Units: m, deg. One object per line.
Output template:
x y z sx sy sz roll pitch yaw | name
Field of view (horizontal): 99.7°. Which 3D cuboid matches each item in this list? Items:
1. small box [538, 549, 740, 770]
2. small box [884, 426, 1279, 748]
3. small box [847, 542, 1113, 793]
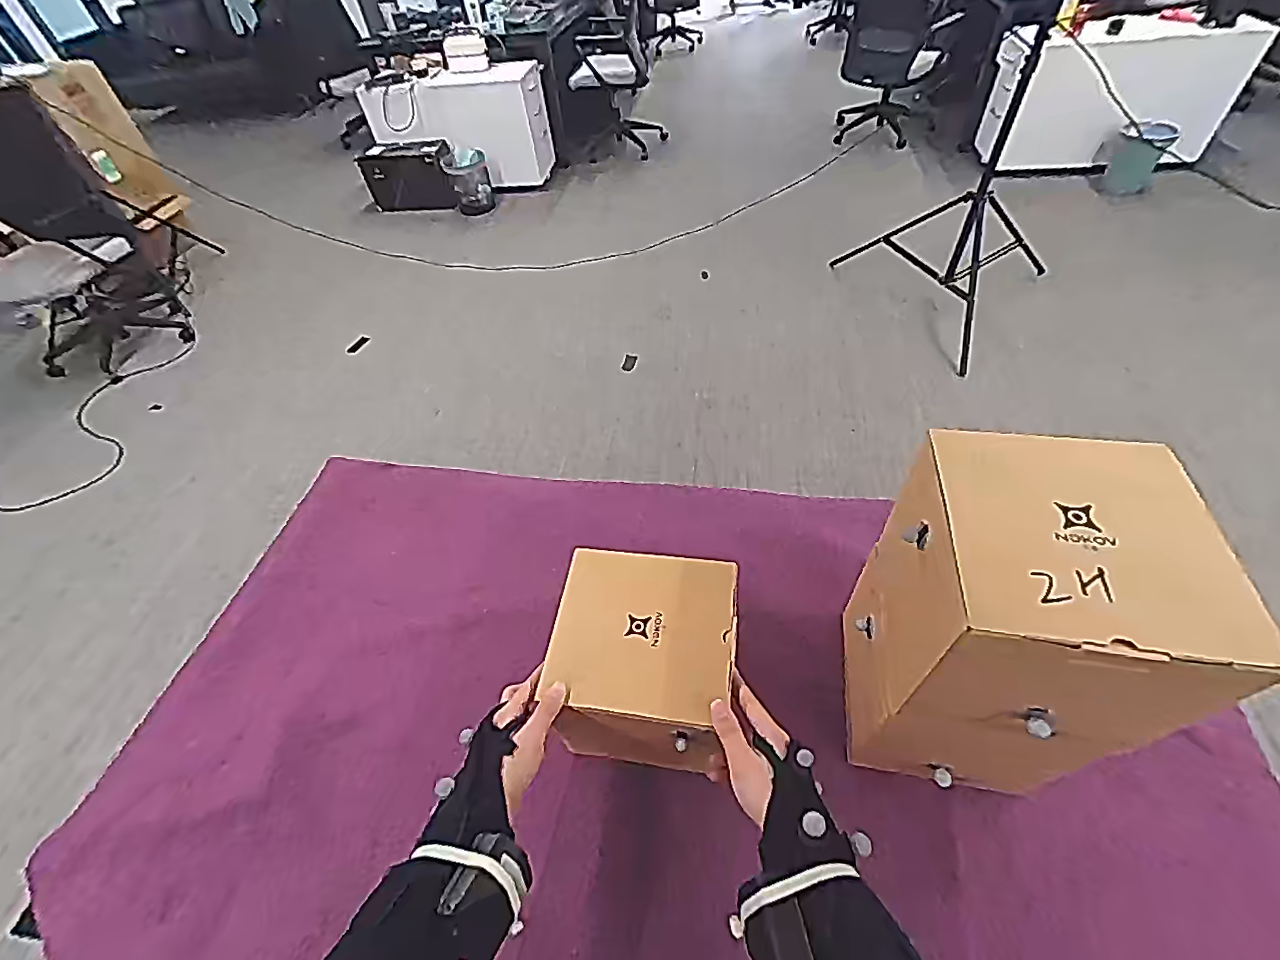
0.012 0.193 0.579 0.179 0.176 0.168 4 50 9 | small box
0.301 0.082 0.422 0.168 0.176 0.179 5 50 12 | small box
0.312 0.189 0.547 0.168 0.176 0.179 6 51 11 | small box
